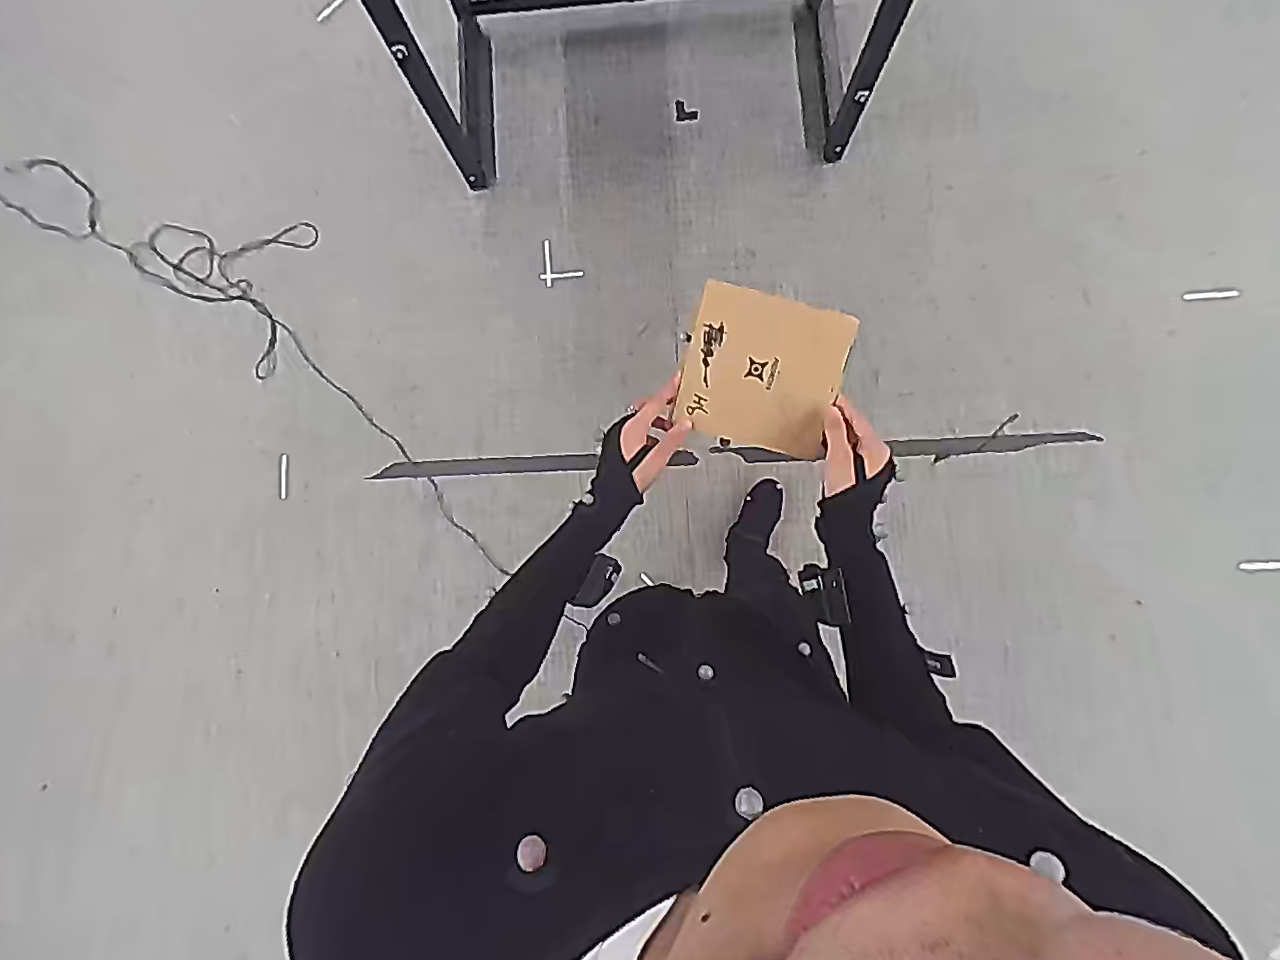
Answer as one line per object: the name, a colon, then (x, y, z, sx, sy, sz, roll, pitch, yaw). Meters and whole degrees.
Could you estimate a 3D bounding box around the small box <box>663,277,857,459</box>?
small box: (0.134, -0.136, 0.679, 0.179, 0.176, 0.168, 14, 100, -2)
